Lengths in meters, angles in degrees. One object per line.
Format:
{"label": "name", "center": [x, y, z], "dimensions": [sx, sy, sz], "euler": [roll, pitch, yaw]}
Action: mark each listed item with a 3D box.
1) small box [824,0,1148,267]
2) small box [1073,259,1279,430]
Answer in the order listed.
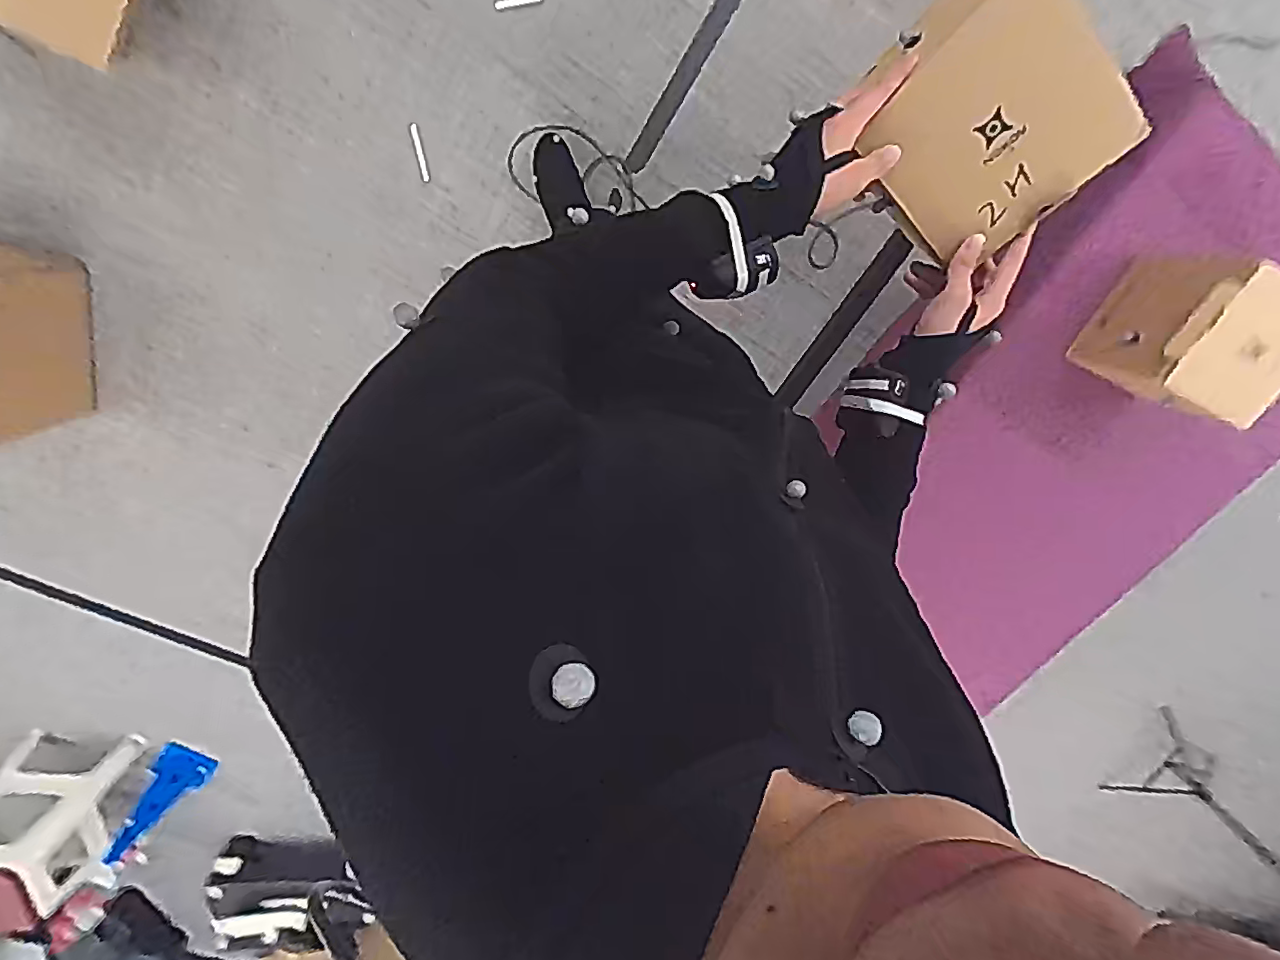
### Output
{"label": "small box", "center": [0.298, -0.341, 0.506], "dimensions": [0.179, 0.176, 0.168], "euler": [37, 124, -20]}
{"label": "small box", "center": [0.786, -0.198, 0.769], "dimensions": [0.179, 0.176, 0.168], "euler": [22, 112, -13]}
